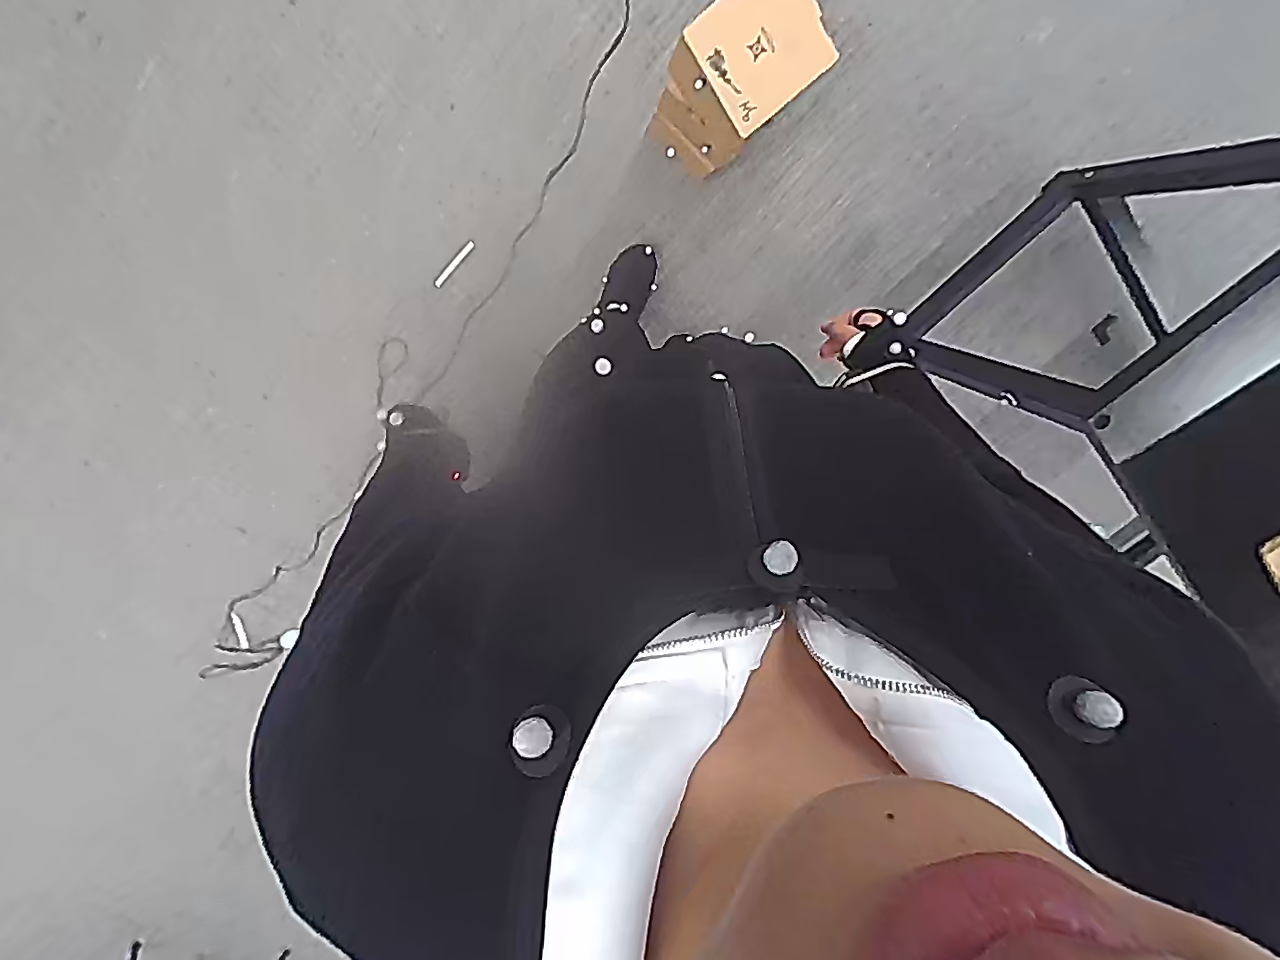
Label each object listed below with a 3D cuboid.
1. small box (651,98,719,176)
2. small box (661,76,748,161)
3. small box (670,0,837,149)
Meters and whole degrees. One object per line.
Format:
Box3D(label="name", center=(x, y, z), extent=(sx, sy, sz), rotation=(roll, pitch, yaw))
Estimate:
Box3D(label="small box", center=(0.138, -0.787, 1.153), extent=(0.168, 0.176, 0.179), rotation=(38, 106, -18))
Box3D(label="small box", center=(0.153, -0.729, 1.003), extent=(0.168, 0.176, 0.179), rotation=(35, 105, -18))
Box3D(label="small box", center=(0.168, -0.663, 0.853), extent=(0.179, 0.176, 0.168), rotation=(-37, 111, 10))
